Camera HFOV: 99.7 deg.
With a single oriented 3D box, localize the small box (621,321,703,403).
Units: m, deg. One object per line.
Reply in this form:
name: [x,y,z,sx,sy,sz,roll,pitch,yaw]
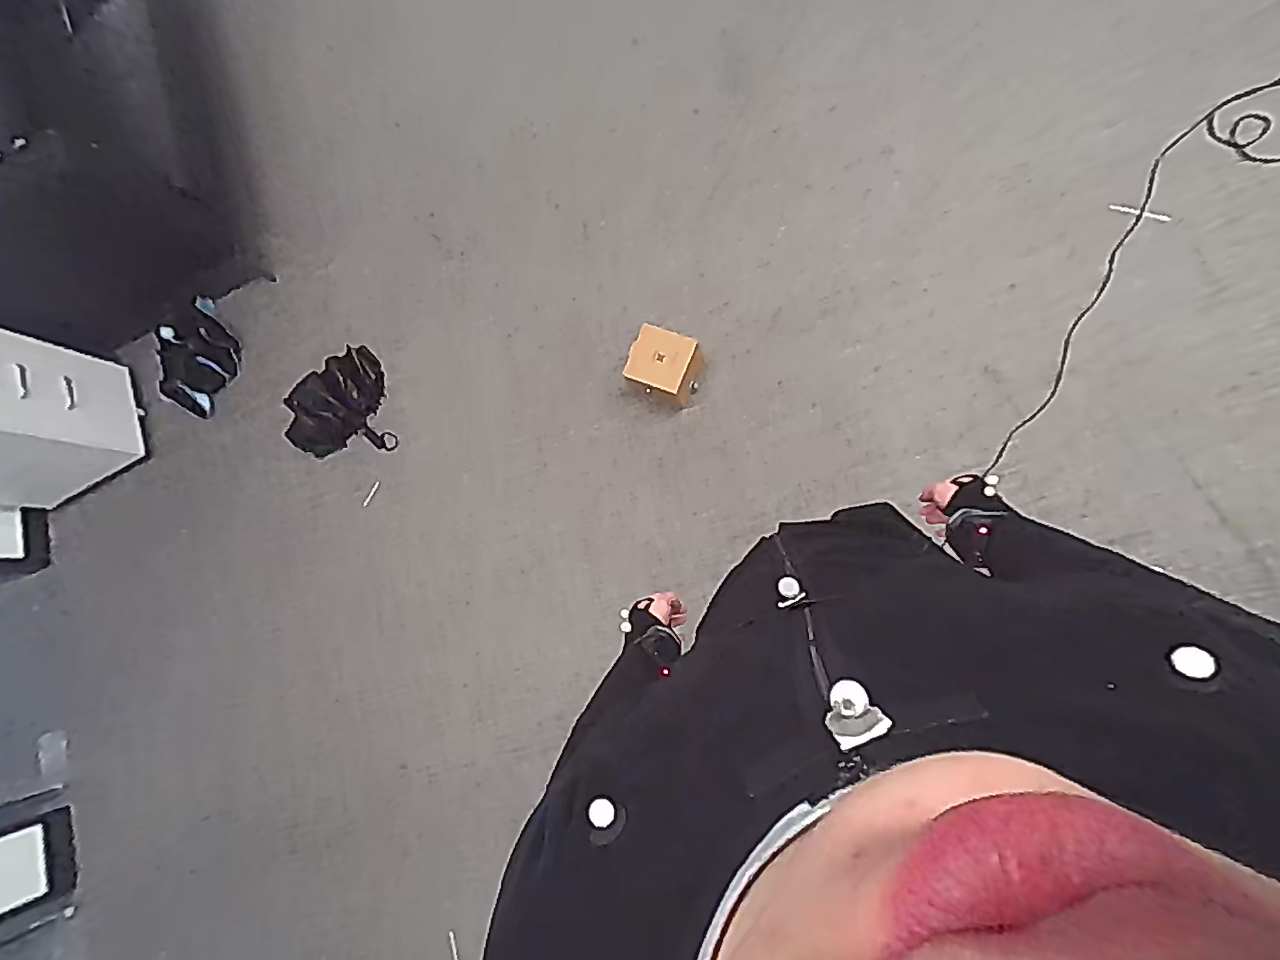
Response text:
small box: [0.071,-0.344,1.609,0.179,0.176,0.168,22,89,15]
